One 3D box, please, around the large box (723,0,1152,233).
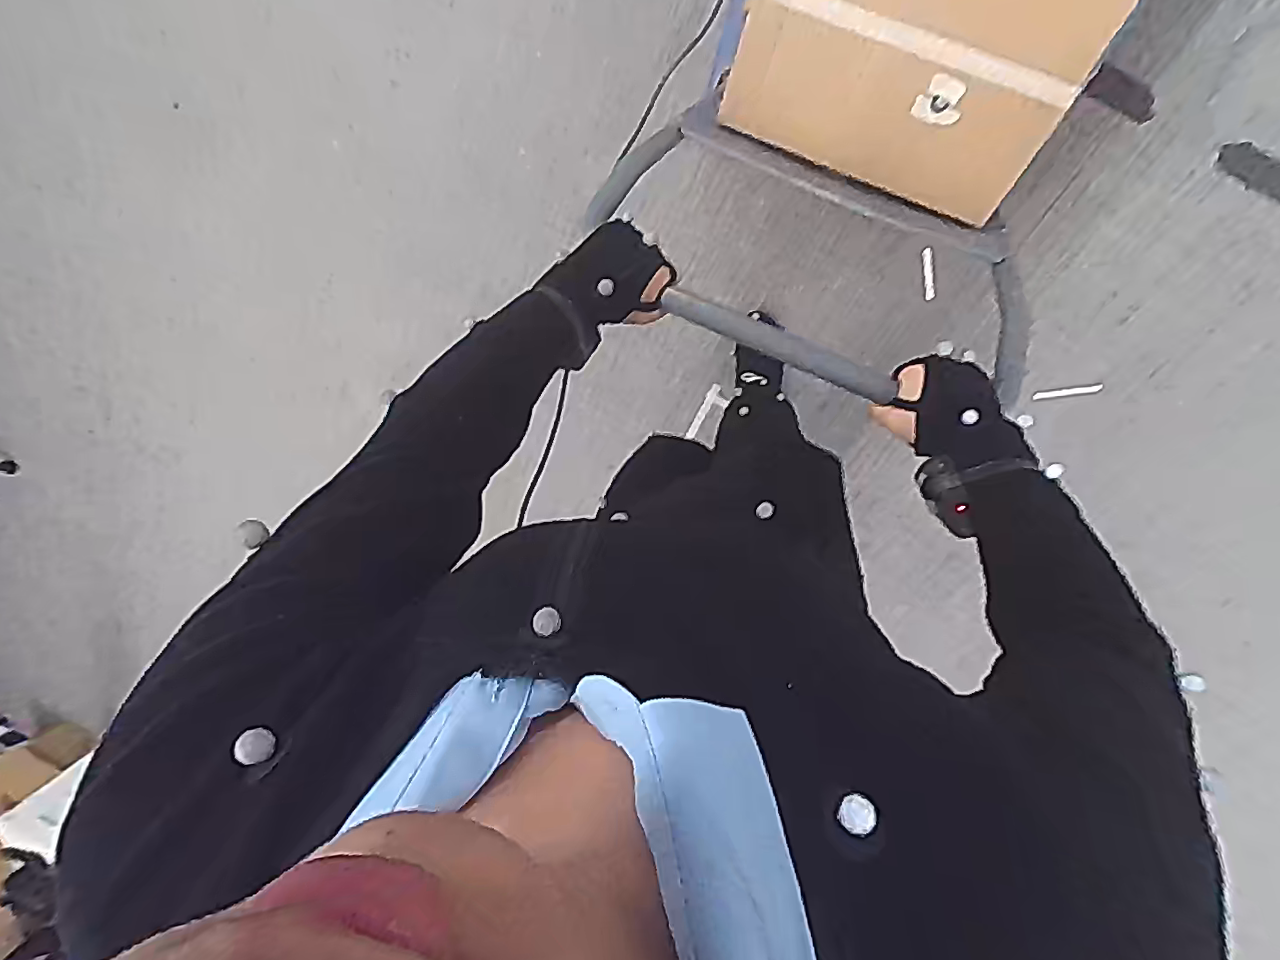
[{"bbox_3d":[0.378,-0.606,0.753,0.408,0.320,0.320,24,135,3],"label":"large box"}]
